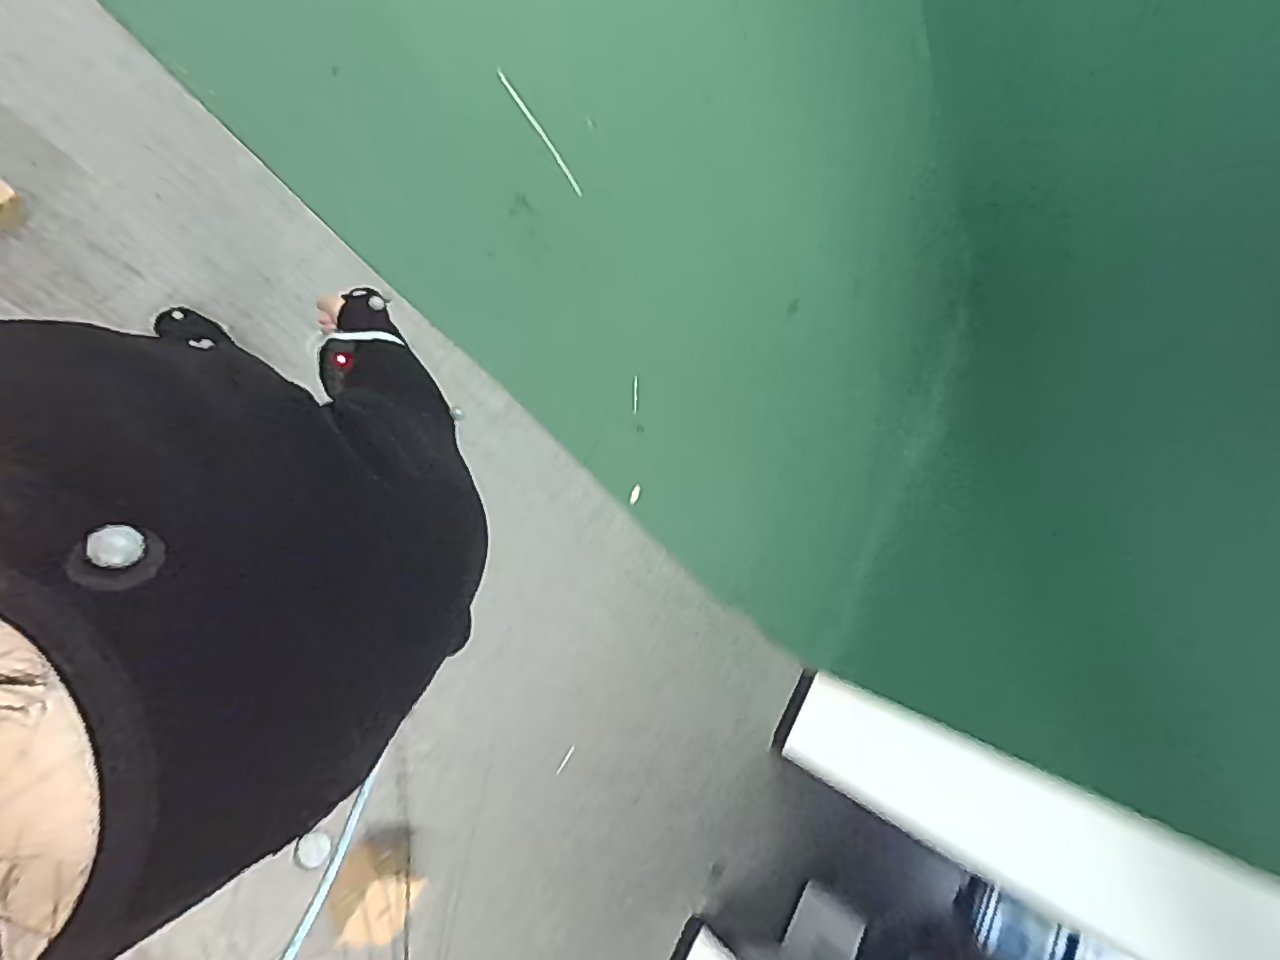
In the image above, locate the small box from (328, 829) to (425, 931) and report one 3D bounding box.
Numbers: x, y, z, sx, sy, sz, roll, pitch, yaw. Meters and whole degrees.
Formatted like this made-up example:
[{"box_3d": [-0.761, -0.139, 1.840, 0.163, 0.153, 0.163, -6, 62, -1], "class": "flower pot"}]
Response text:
[{"box_3d": [-0.761, 1.142, 1.552, 0.168, 0.176, 0.179, 41, 73, -39], "class": "small box"}]
